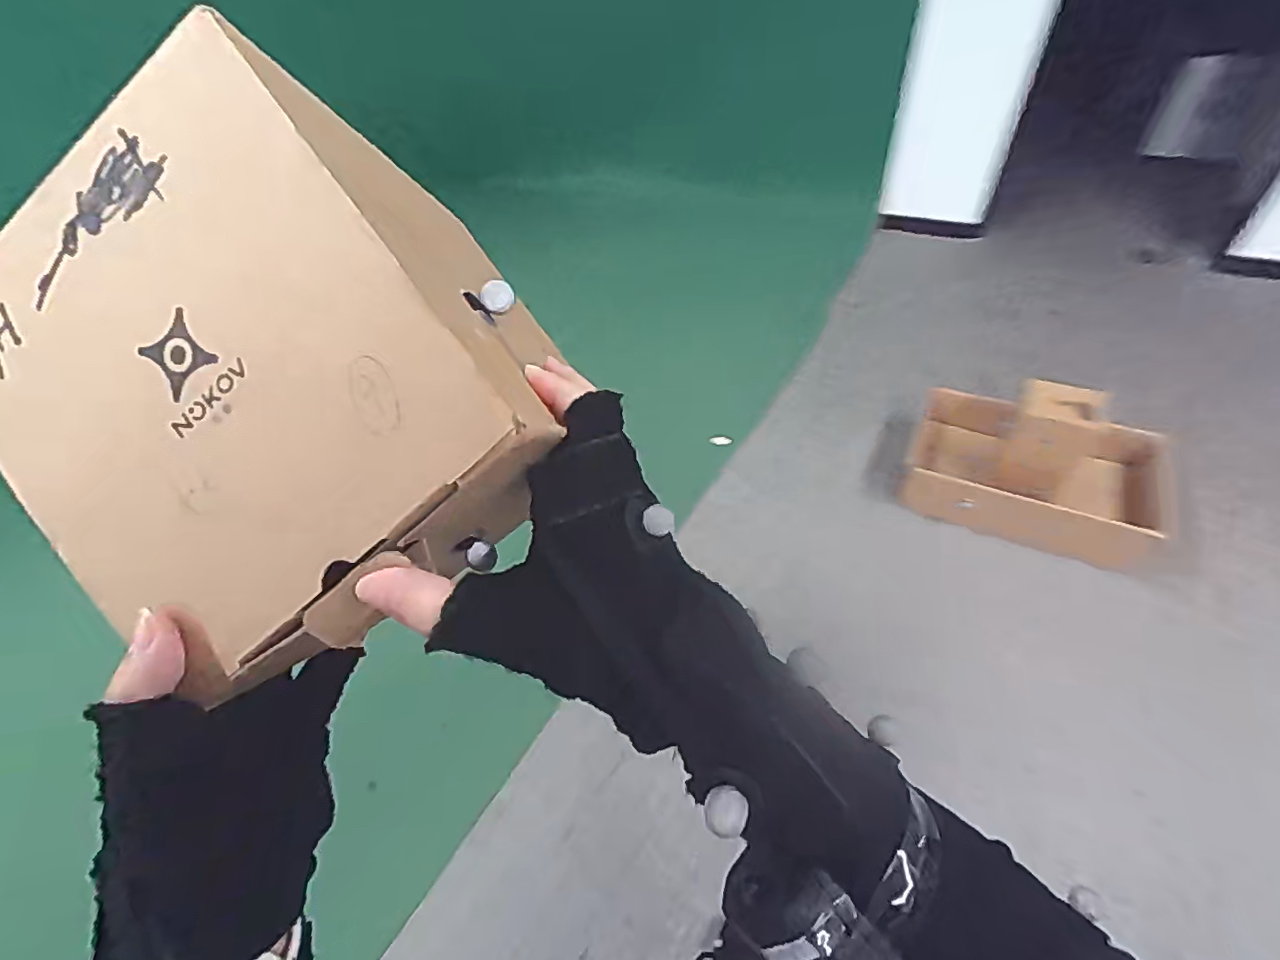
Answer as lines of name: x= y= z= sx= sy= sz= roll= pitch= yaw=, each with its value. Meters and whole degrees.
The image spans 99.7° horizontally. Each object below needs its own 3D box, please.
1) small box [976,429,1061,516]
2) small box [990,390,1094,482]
small box: x=1.123 y=-0.023 z=1.606 sx=0.168 sy=0.176 sz=0.179 roll=19 pitch=52 yaw=22
small box: x=1.107 y=-0.118 z=1.494 sx=0.179 sy=0.176 sz=0.168 roll=20 pitch=53 yaw=24
